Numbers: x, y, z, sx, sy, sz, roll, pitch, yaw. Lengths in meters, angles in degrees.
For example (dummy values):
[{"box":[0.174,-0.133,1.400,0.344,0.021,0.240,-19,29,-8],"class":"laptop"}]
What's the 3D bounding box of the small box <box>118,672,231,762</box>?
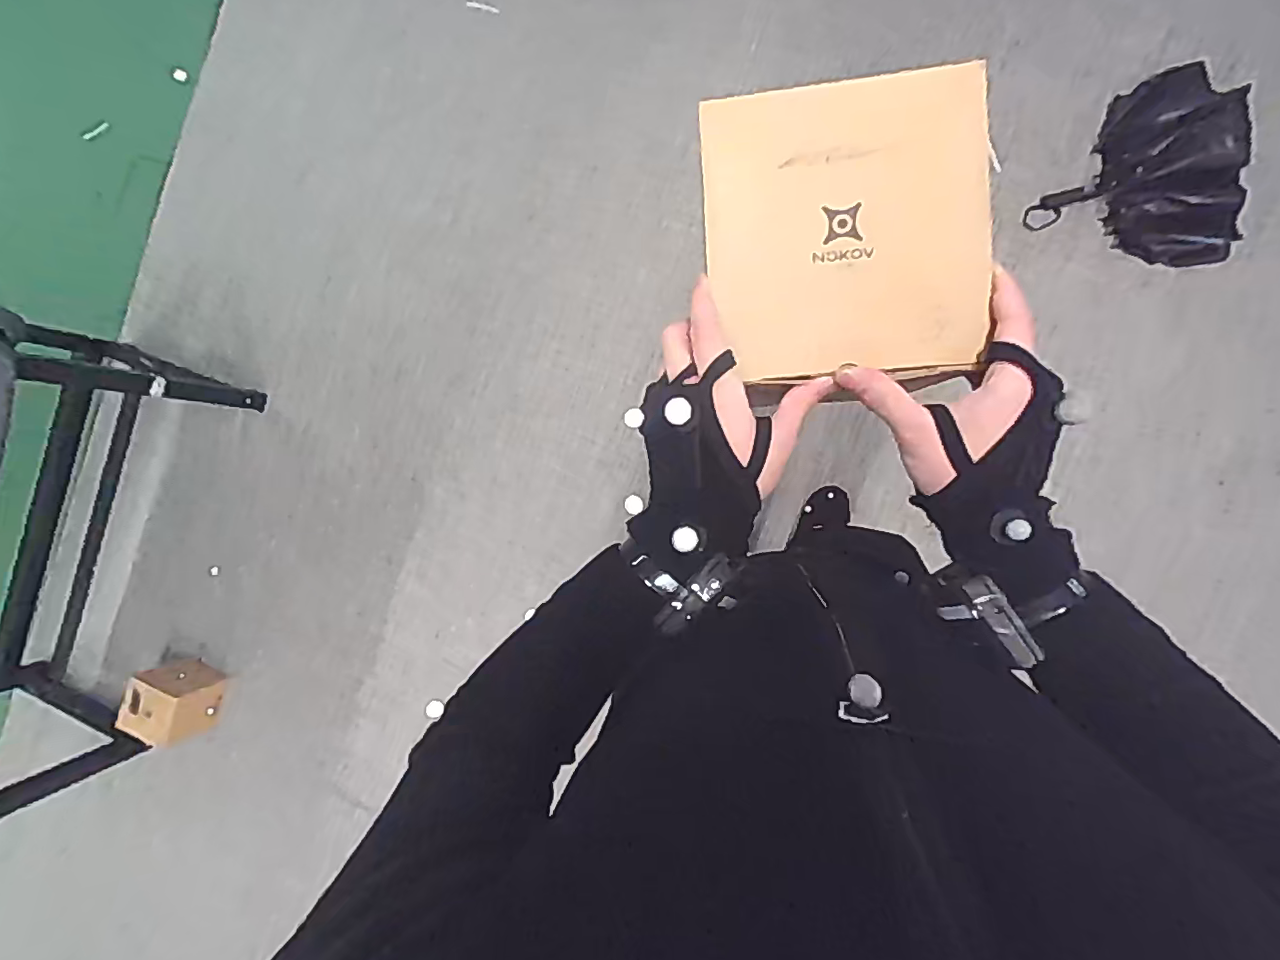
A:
[{"box":[-1.391,0.699,1.623,0.179,0.176,0.168,19,94,9],"class":"small box"}]
